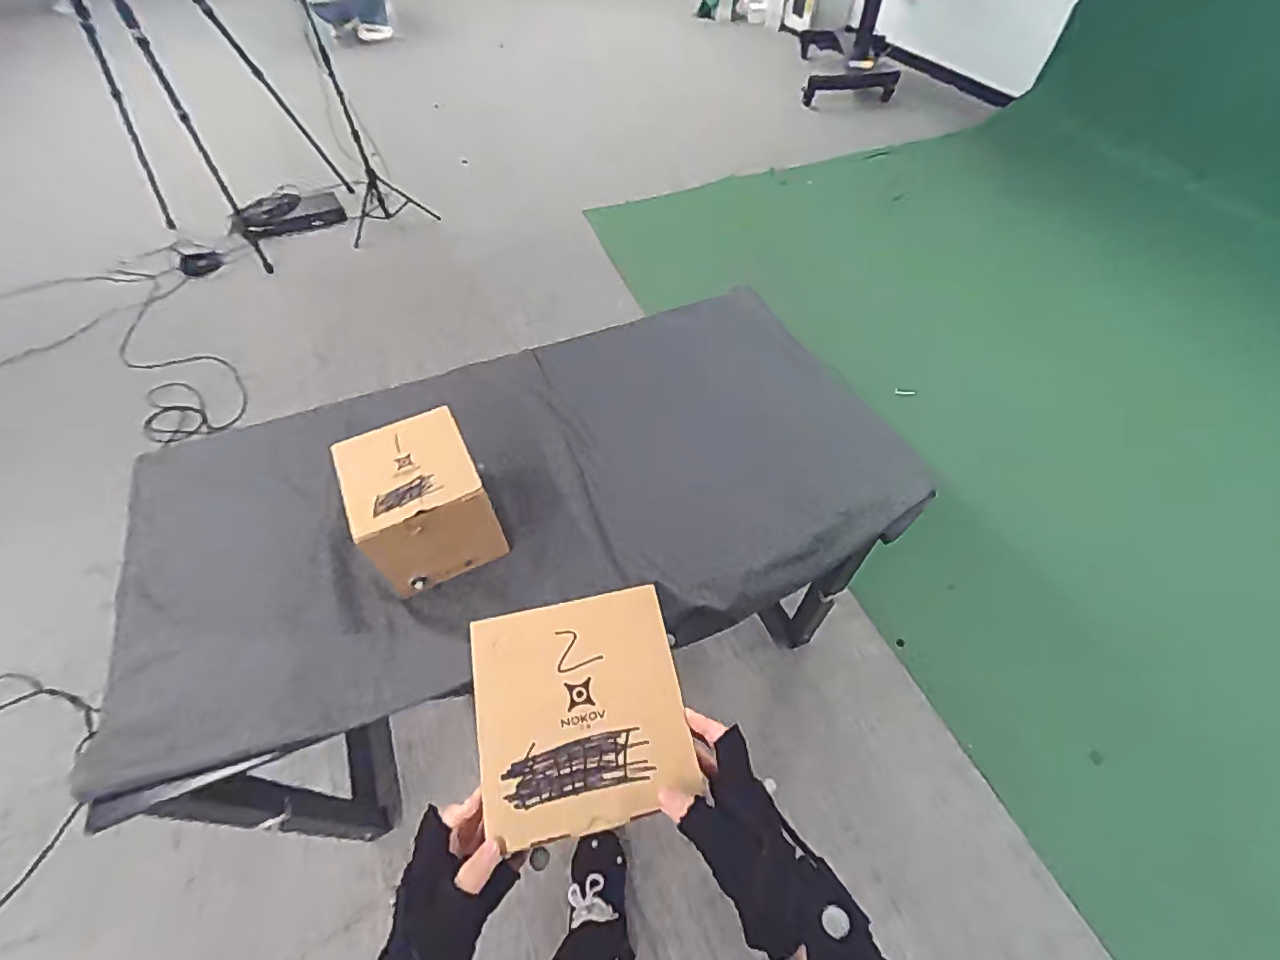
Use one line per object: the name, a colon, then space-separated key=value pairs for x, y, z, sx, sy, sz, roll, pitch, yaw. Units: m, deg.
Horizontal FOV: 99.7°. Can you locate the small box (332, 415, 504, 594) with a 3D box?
small box: x=-0.312 y=0.043 z=0.781 sx=0.168 sy=0.176 sz=0.179 roll=-23 pitch=55 yaw=-16
